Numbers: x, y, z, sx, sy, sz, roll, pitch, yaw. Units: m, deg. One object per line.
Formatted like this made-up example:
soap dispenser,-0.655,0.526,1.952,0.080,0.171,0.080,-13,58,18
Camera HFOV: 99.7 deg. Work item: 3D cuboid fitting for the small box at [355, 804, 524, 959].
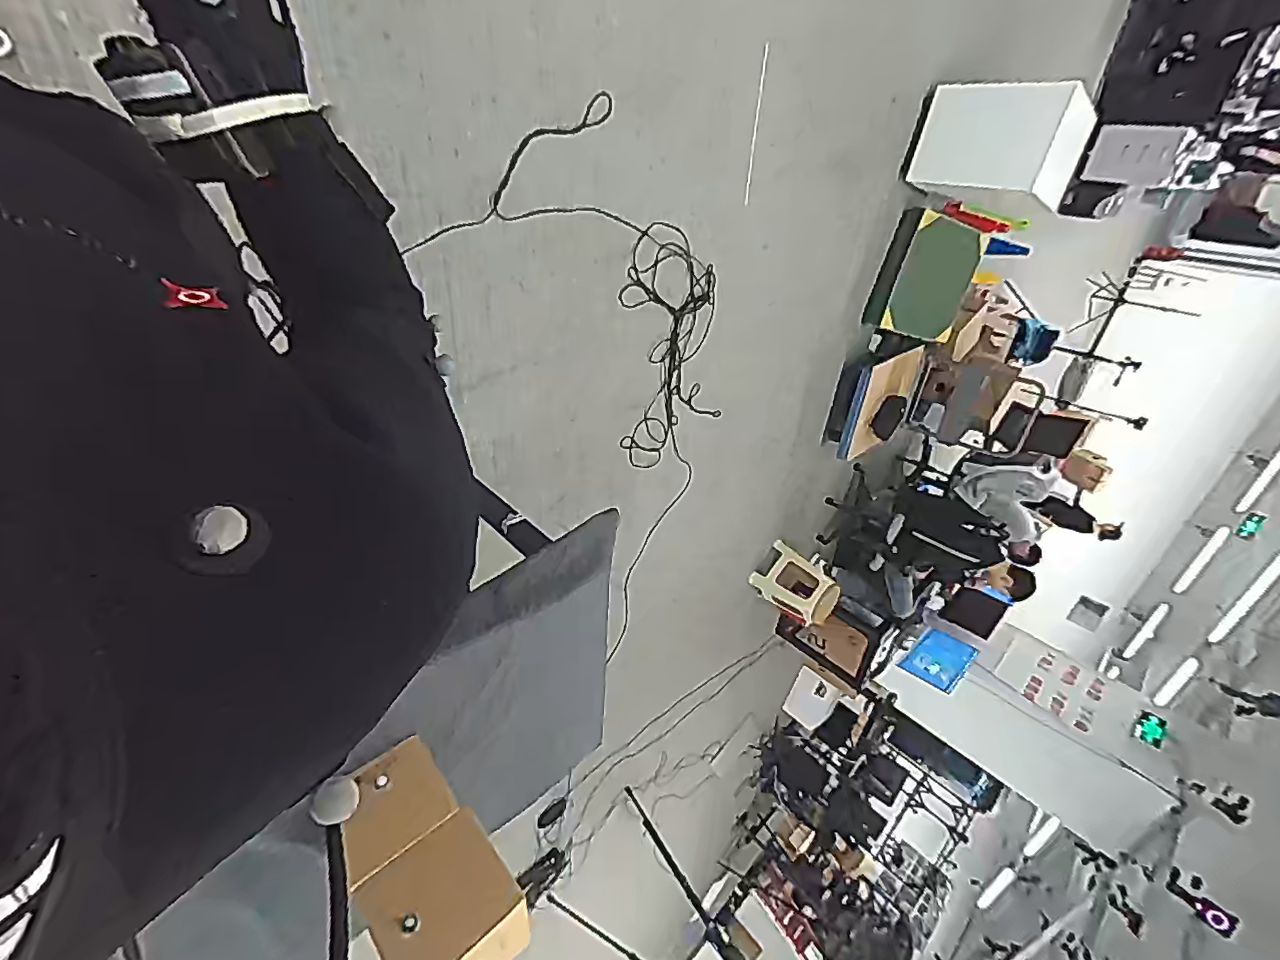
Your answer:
small box,-0.292,0.630,0.788,0.179,0.176,0.168,-26,134,-37

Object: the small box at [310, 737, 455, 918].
small box,-0.408,0.564,0.881,0.168,0.176,0.179,-24,131,-38
